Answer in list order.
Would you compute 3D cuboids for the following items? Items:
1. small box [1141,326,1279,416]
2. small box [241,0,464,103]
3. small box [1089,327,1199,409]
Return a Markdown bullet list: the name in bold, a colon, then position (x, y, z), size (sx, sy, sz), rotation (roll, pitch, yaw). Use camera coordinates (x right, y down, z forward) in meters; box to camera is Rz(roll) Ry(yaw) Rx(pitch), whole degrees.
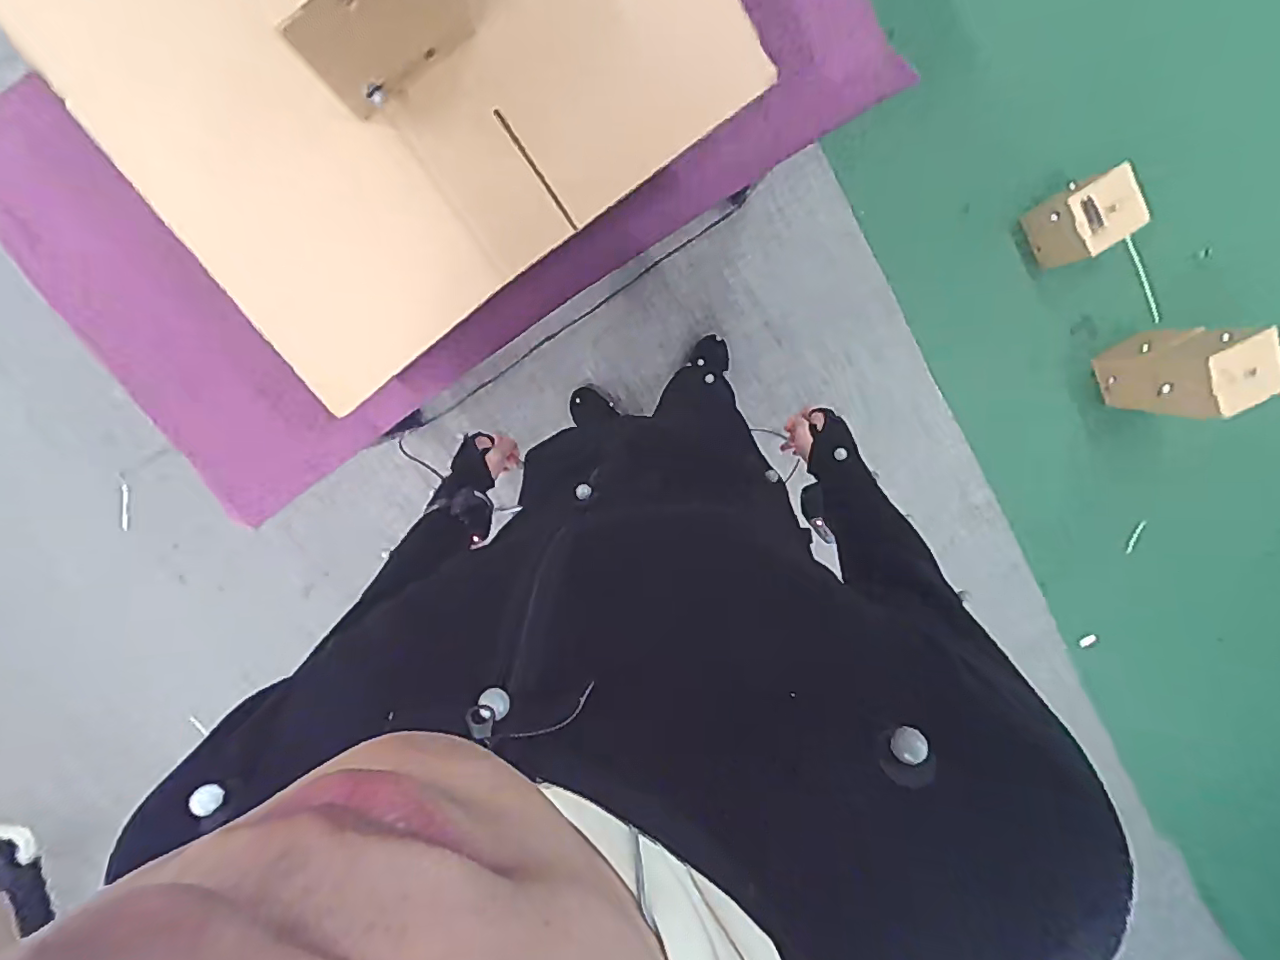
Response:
- **small box**: position (1.463, -0.283, 1.393), size (0.179, 0.176, 0.168), rotation (-27, 103, 4)
- **small box**: position (-0.290, -0.490, 0.493), size (0.168, 0.176, 0.179), rotation (-36, 101, 3)
- **small box**: position (1.457, -0.324, 1.552), size (0.179, 0.176, 0.168), rotation (-29, 102, 4)
